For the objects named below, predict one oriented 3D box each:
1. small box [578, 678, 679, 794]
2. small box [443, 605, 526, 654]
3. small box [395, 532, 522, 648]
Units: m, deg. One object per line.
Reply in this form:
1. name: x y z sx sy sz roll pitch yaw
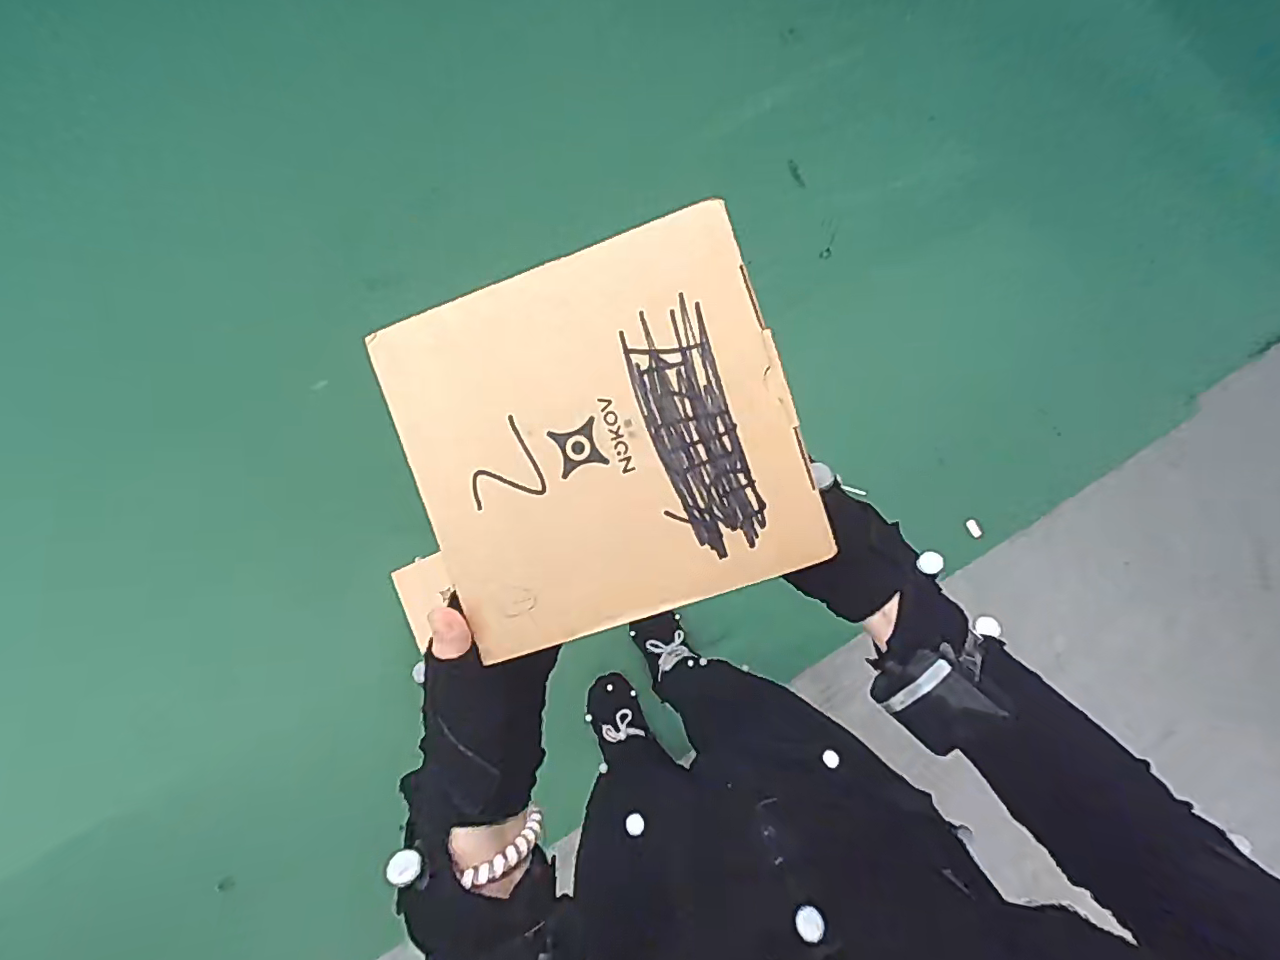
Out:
1. small box: -0.025 0.566 1.218 0.179 0.176 0.168 15 85 16
2. small box: -0.373 0.279 1.239 0.168 0.176 0.179 -23 78 -11
3. small box: -0.354 0.224 1.084 0.179 0.176 0.168 -24 78 -11
